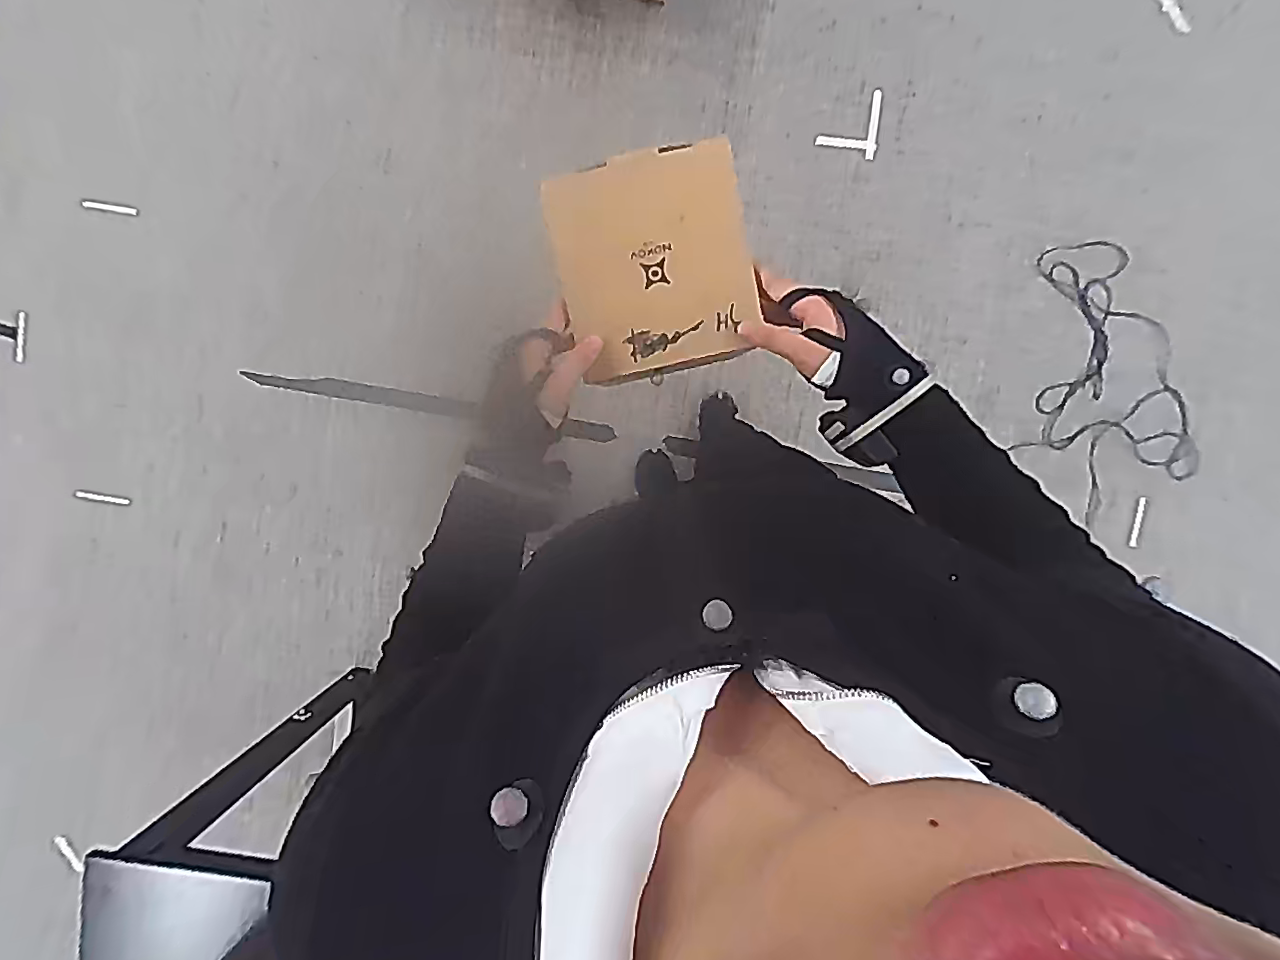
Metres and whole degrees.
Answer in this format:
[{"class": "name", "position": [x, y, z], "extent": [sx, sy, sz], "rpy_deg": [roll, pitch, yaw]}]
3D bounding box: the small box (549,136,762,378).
[{"class": "small box", "position": [0.015, -0.207, 0.554], "extent": [0.168, 0.176, 0.179], "rpy_deg": [-11, 99, 3]}]
